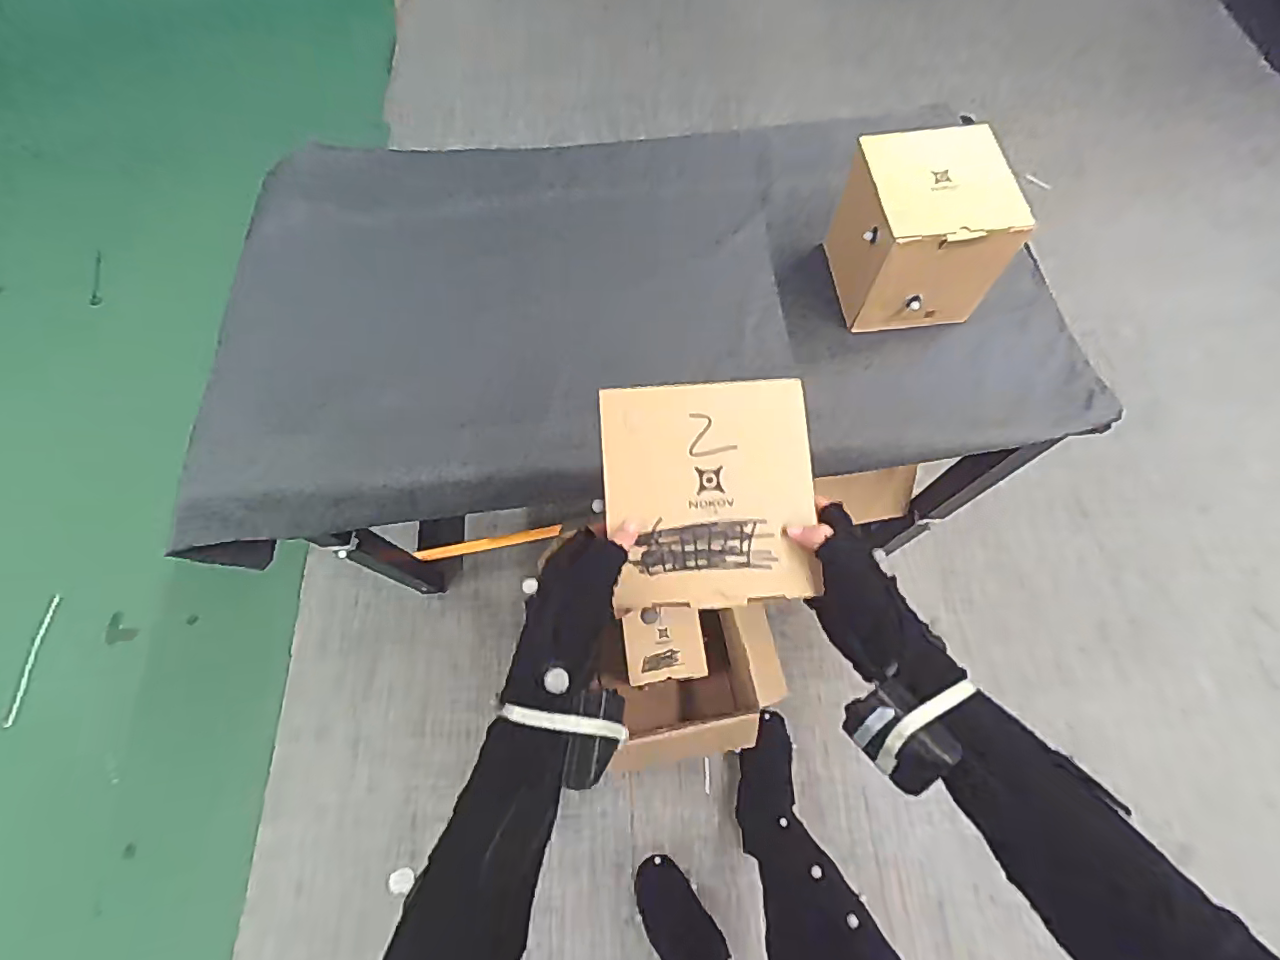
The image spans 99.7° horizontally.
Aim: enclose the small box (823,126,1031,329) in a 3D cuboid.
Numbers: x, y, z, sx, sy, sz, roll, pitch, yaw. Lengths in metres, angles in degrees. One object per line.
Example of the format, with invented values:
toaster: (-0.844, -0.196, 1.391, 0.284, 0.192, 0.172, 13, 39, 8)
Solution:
small box: (0.360, -0.328, 0.721, 0.168, 0.176, 0.179, -6, 68, 0)
